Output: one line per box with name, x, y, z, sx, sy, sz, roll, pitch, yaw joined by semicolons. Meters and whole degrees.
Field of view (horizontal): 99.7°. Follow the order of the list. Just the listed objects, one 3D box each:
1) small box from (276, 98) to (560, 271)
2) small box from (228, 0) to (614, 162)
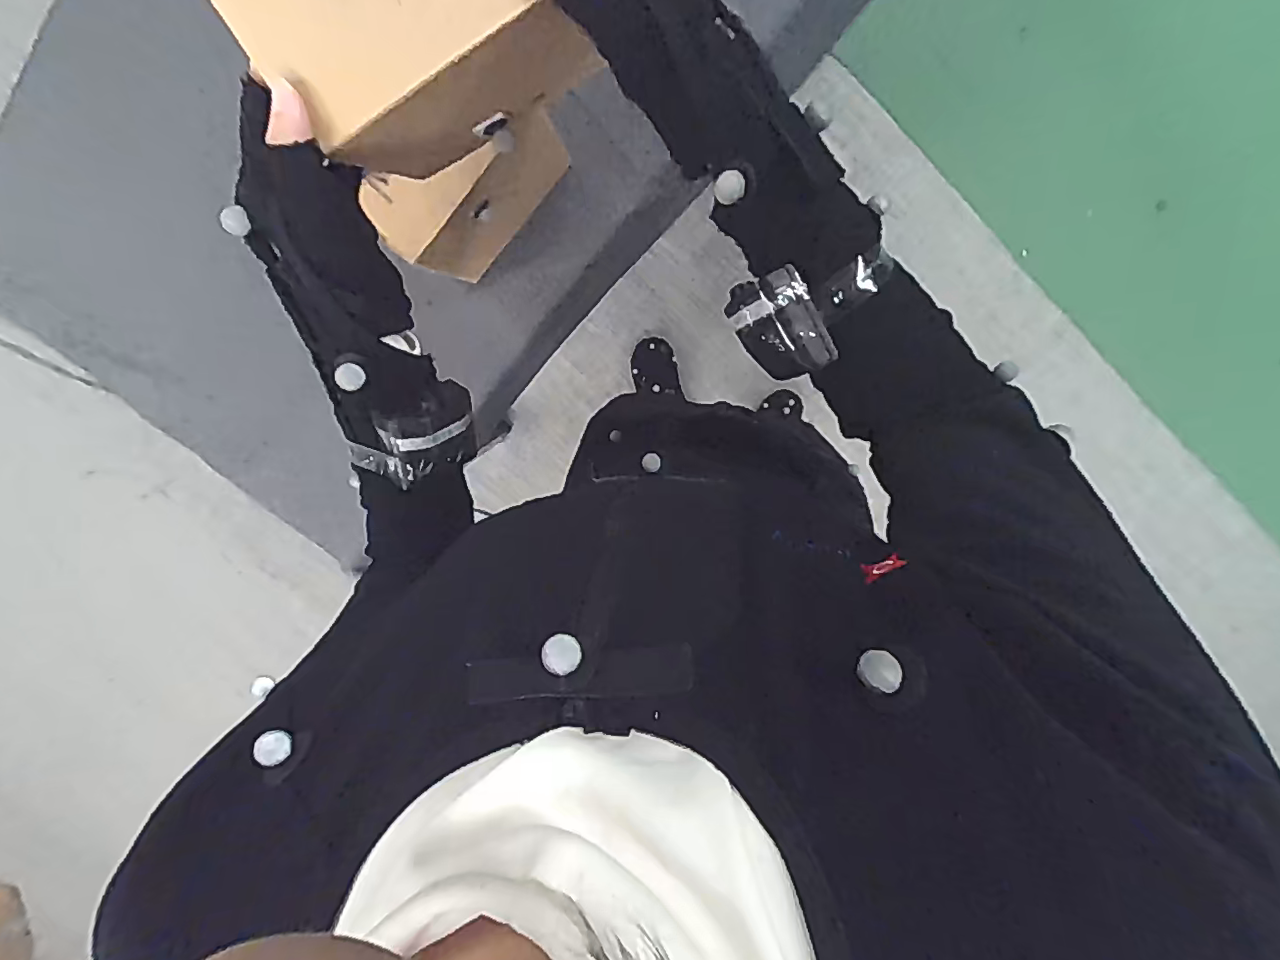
small box;-0.202;-0.336;0.545;0.168;0.176;0.179;42;102;-9
small box;-0.124;-0.302;0.289;0.168;0.176;0.179;-25;114;11
